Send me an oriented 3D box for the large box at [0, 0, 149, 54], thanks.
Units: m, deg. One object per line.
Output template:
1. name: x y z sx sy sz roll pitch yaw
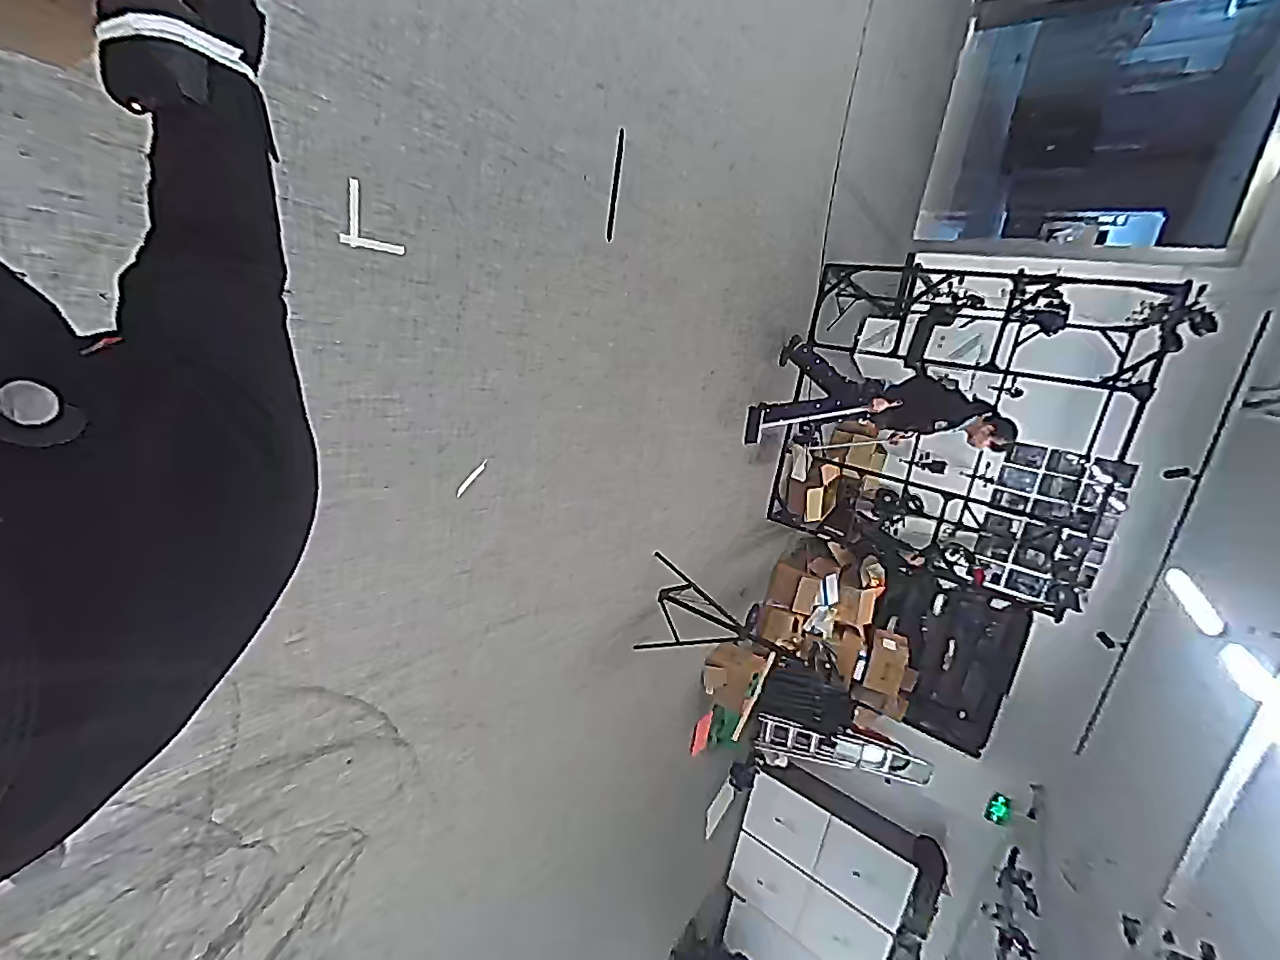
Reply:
1. large box: -0.543 -0.504 0.263 0.408 0.320 0.320 -7 113 -55
